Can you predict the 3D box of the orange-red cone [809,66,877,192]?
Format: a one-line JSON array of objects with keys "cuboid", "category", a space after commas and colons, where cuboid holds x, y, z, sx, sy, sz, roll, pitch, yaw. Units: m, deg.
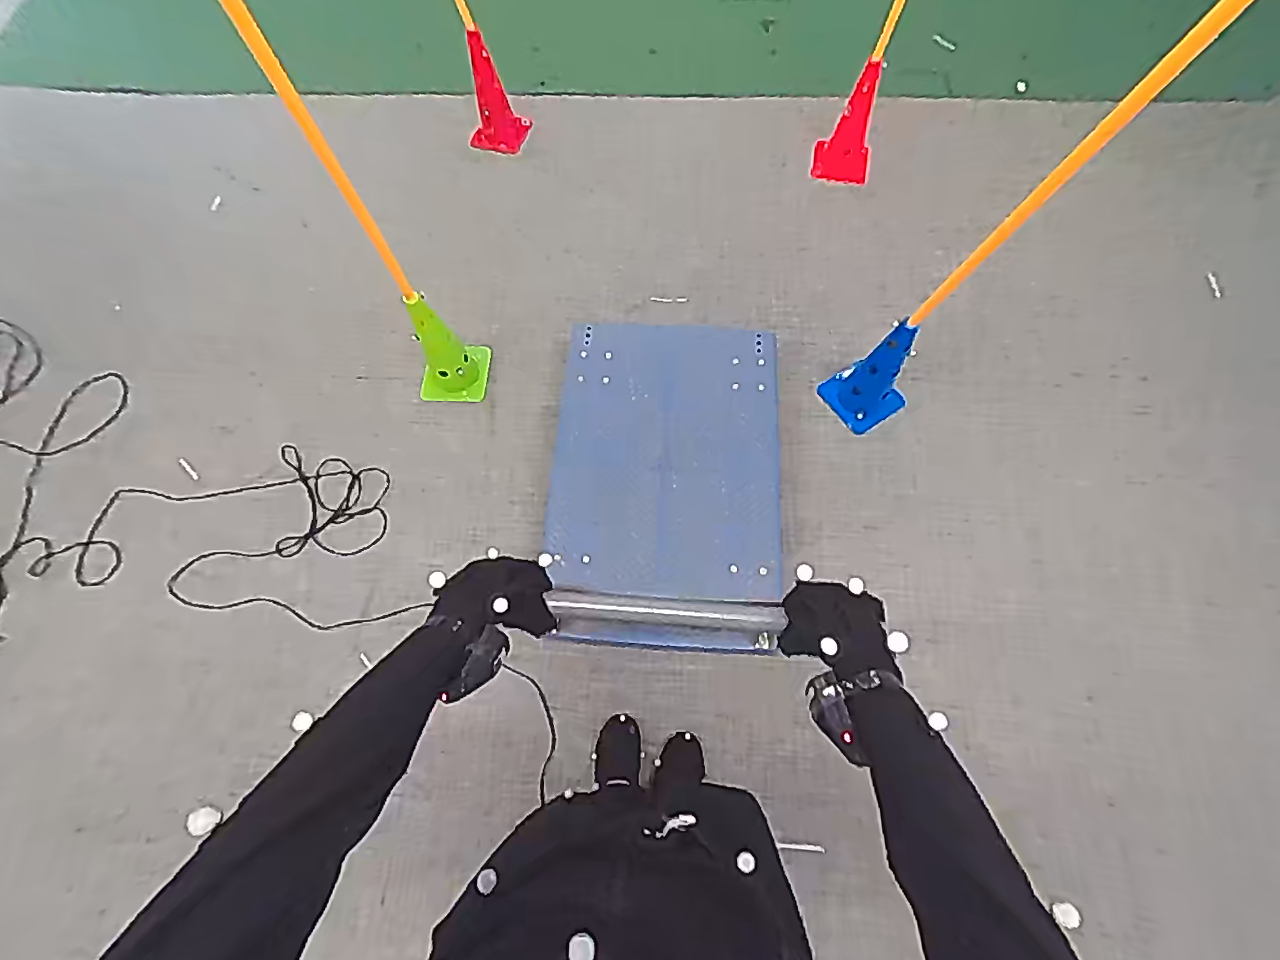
[{"cuboid": [0.727, -1.208, 1.844, 0.198, 0.360, 0.199, 13, 70, 7], "category": "orange-red cone"}]
